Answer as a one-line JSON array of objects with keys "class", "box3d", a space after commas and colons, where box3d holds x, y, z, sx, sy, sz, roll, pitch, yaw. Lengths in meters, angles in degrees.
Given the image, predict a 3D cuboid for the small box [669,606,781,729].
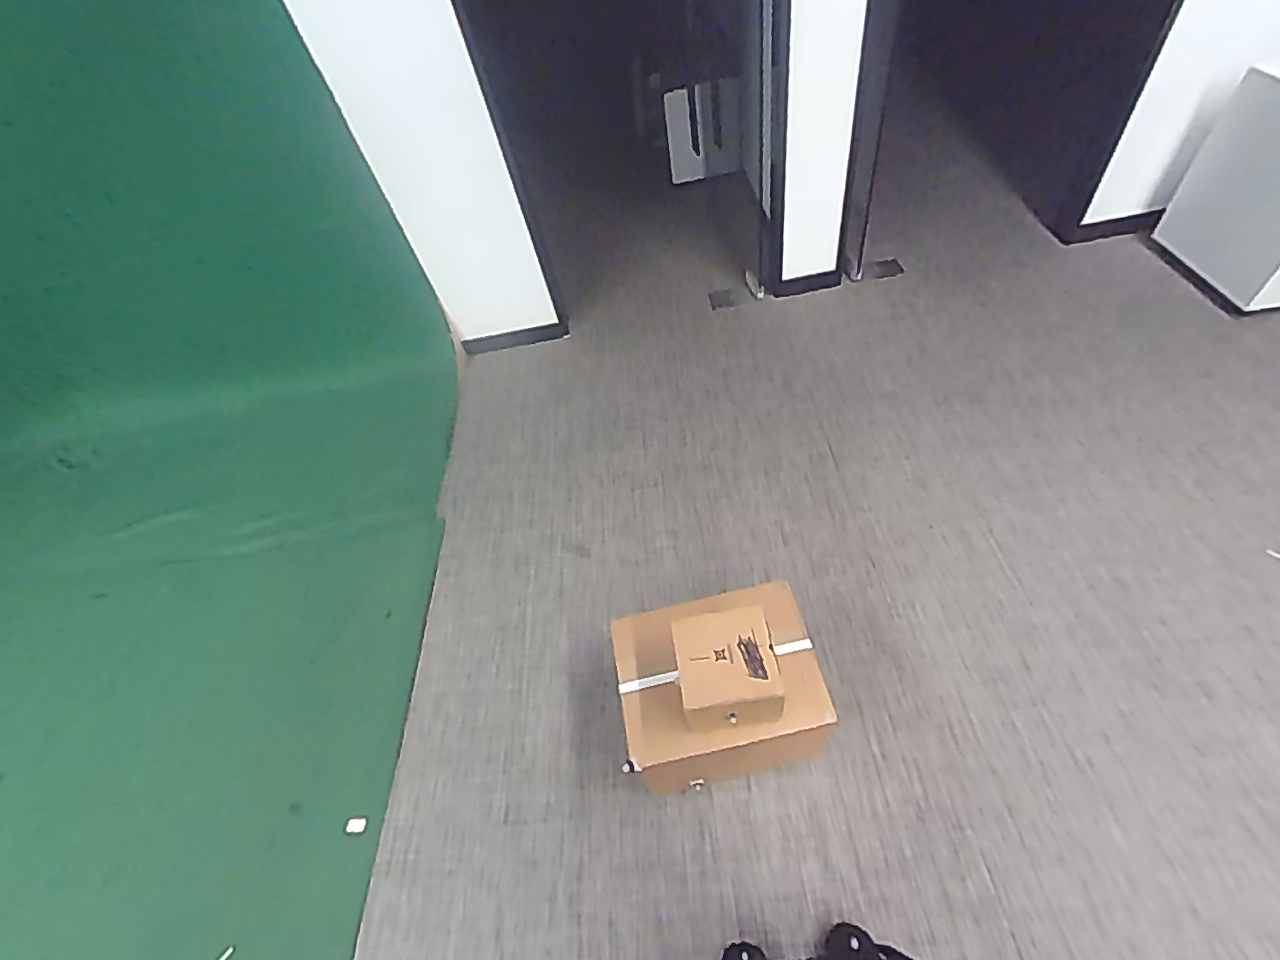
[{"class": "small box", "box3d": [0.160, 0.362, 1.033, 0.179, 0.176, 0.168, -11, 51, 4]}]
